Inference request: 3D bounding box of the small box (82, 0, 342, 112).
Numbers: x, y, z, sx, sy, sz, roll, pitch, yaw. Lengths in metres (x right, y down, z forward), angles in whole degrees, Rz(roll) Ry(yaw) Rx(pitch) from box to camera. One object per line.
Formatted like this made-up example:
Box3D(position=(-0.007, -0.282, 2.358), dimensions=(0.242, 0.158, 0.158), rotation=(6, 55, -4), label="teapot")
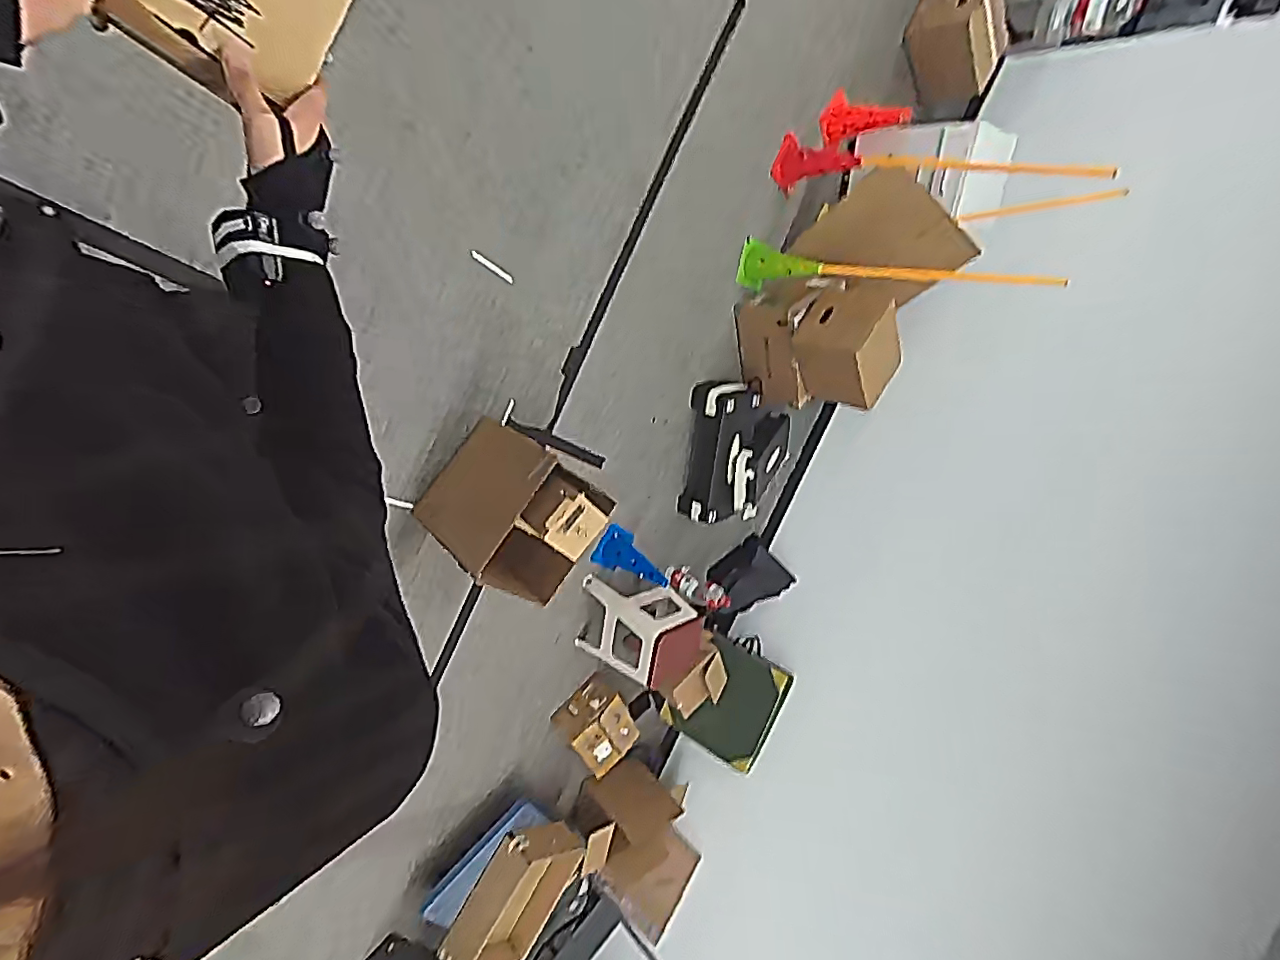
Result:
Box3D(position=(-0.377, -0.459, 0.472), dimensions=(0.168, 0.176, 0.179), rotation=(22, 95, -51), label="small box")
